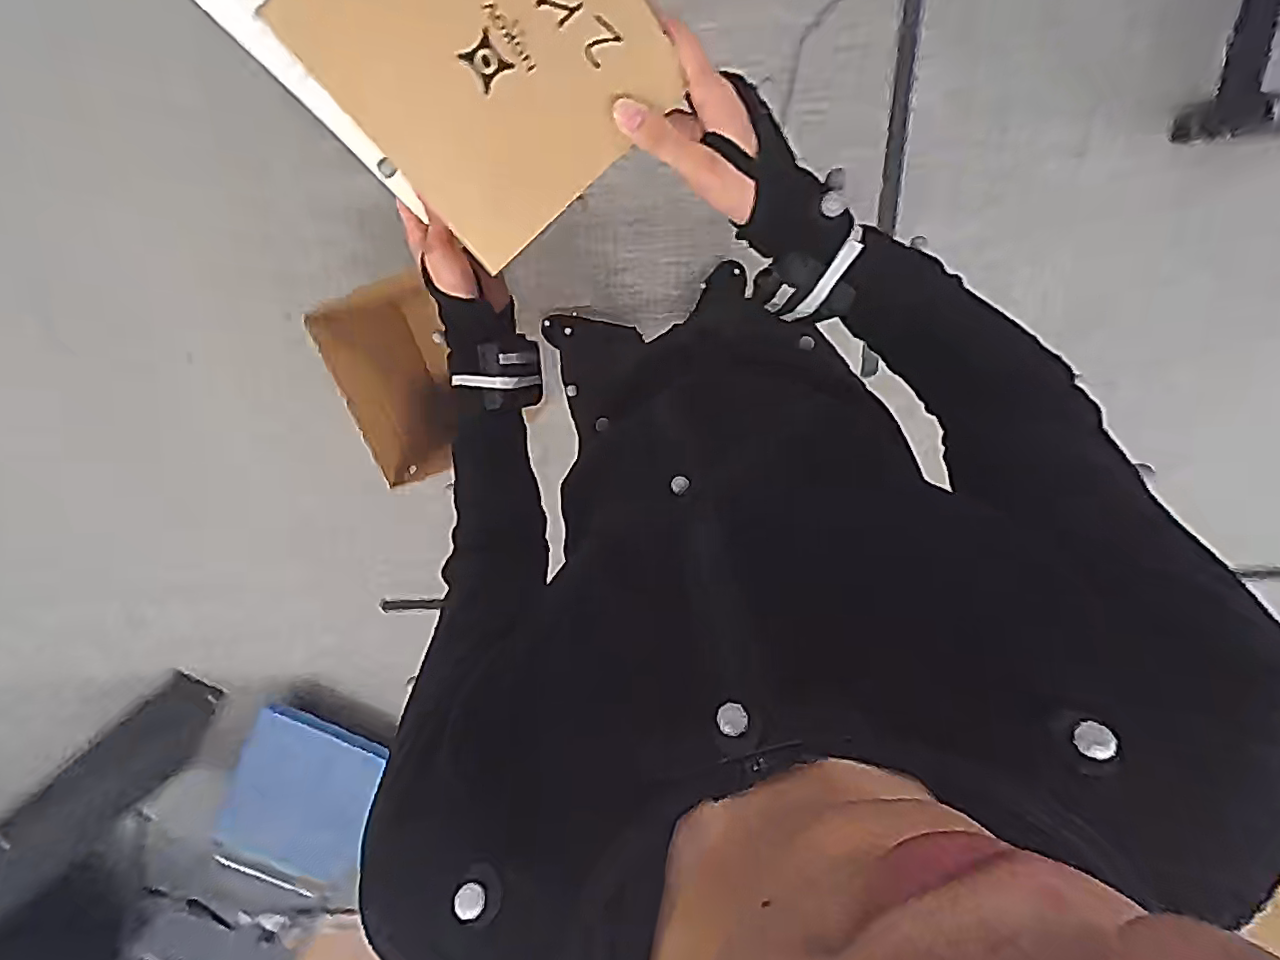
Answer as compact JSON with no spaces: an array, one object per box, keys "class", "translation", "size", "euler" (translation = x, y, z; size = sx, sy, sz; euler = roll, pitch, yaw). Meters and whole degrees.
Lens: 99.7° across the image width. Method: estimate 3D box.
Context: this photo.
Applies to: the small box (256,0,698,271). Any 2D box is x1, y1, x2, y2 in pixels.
[{"class":"small box","translation":[-0.096,-0.272,0.361],"size":[0.179,0.176,0.168],"euler":[-40,123,6]}]
